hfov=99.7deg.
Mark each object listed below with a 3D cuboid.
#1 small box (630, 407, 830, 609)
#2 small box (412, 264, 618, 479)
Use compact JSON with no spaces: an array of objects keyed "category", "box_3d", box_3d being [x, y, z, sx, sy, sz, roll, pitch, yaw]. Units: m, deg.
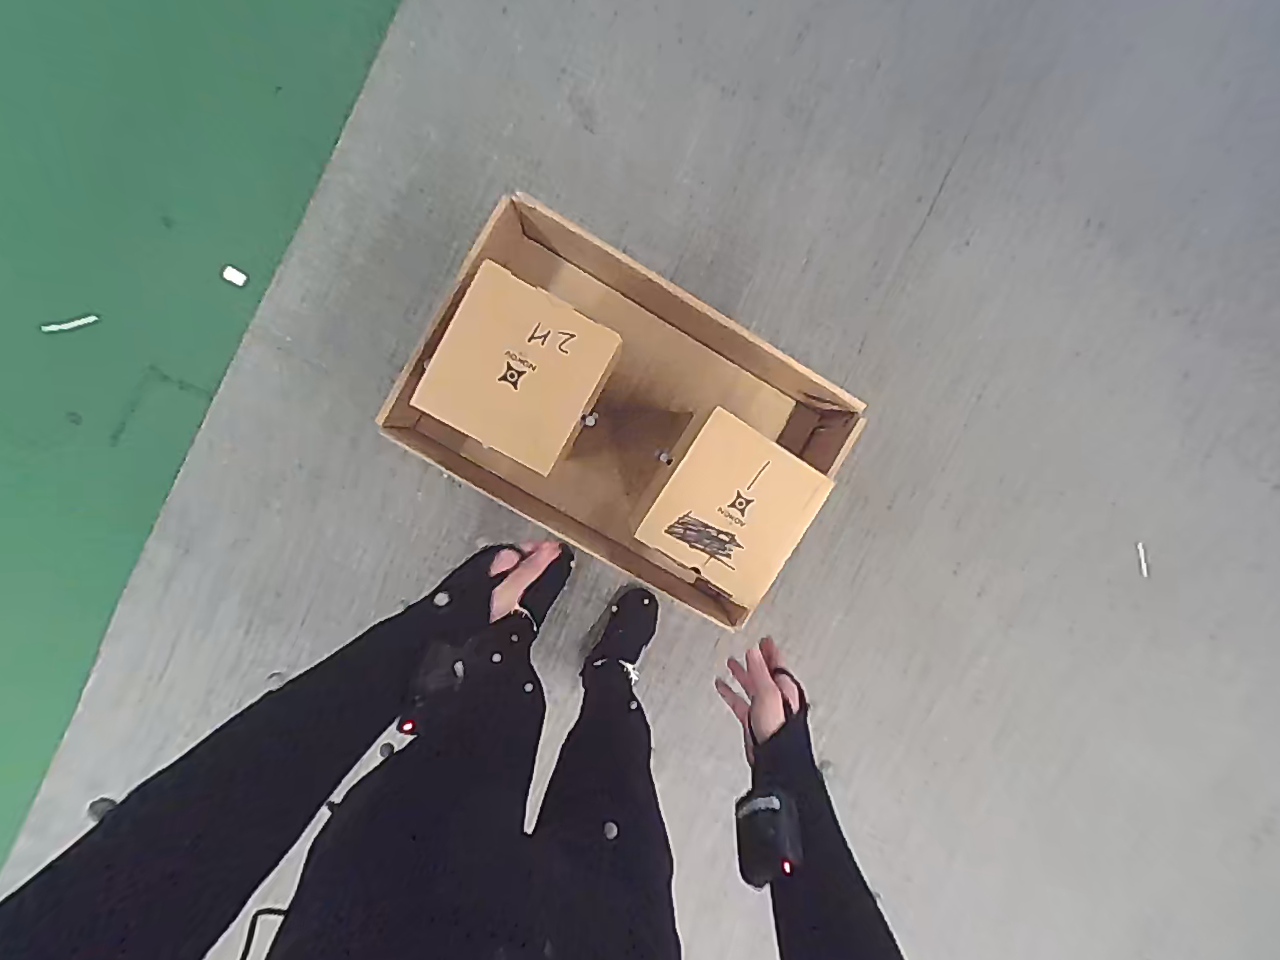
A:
[{"category":"small box","box_3d":[0.100,0.030,0.687,0.168,0.176,0.179,33,90,-5]},{"category":"small box","box_3d":[-0.137,-0.121,0.658,0.168,0.176,0.179,29,92,-6]}]
